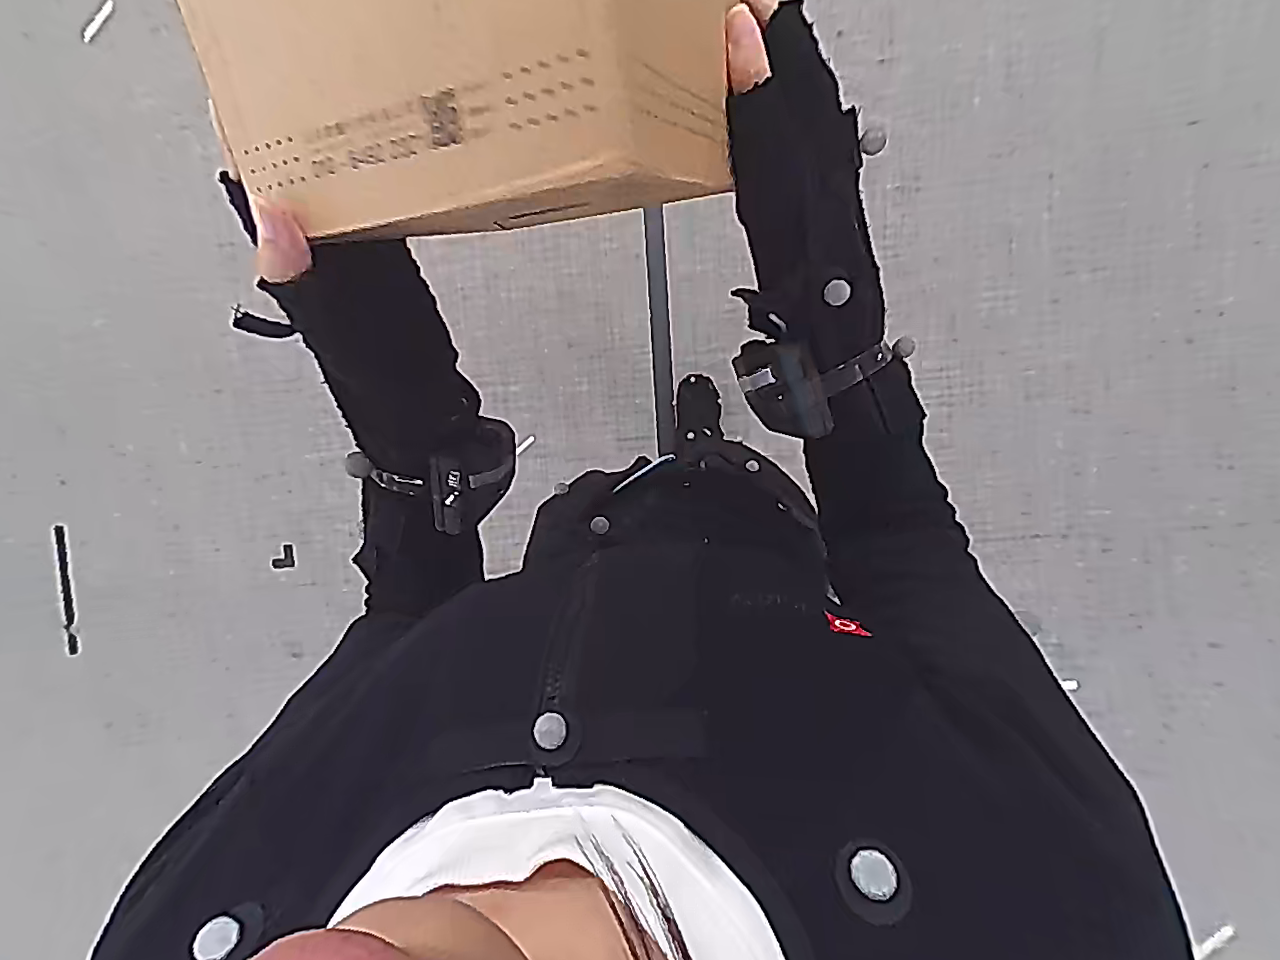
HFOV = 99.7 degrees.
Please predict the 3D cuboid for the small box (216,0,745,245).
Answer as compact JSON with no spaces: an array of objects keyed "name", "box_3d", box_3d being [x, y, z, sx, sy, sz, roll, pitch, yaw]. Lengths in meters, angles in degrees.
[{"name":"small box","box_3d":[-0.051,-0.202,0.233,0.168,0.179,0.176,3,117,21]}]
